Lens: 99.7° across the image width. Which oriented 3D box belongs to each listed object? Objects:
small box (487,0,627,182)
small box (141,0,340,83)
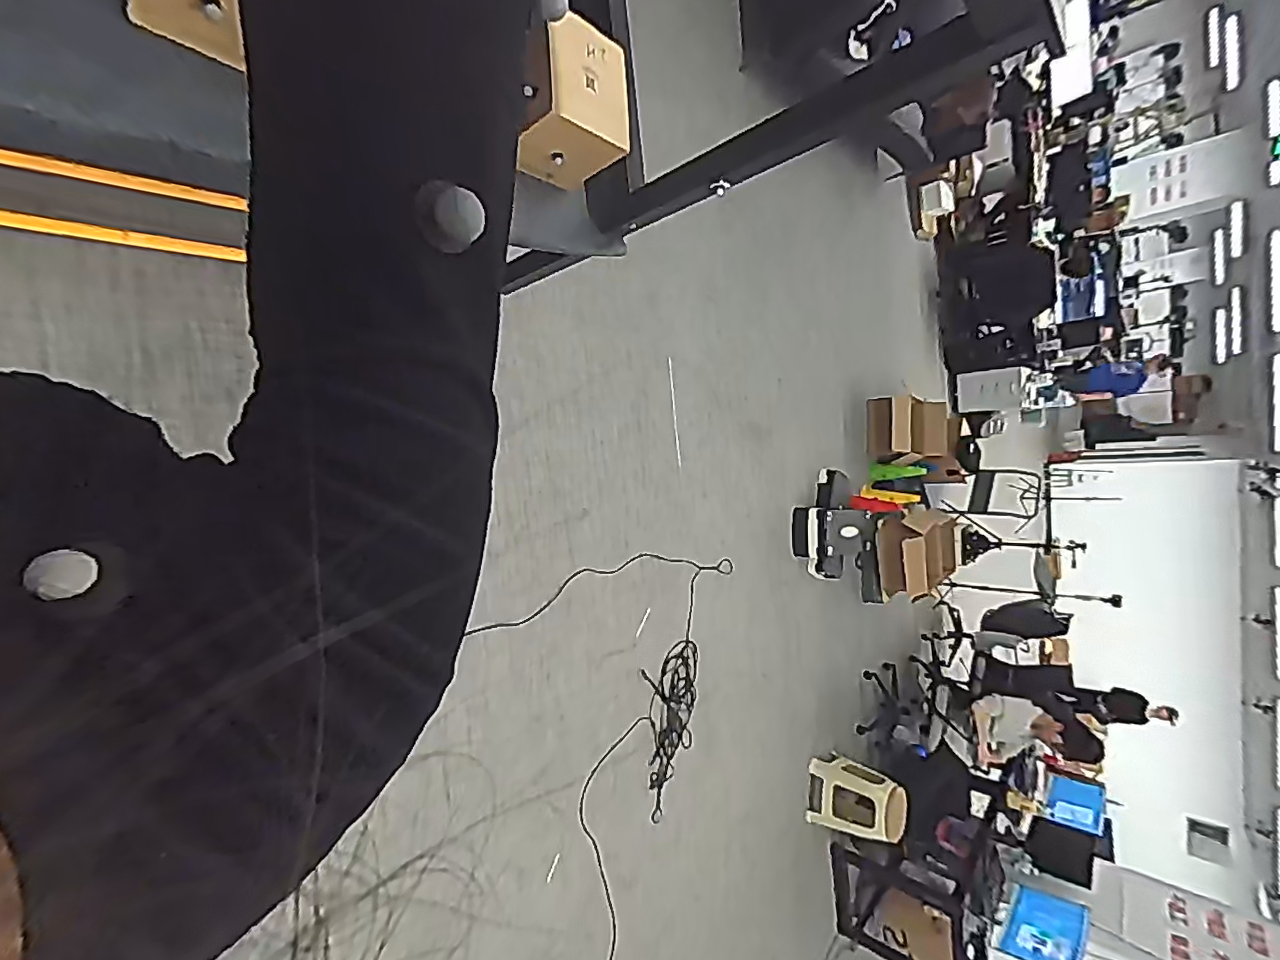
[{"bbox_3d":[-0.141,-0.640,0.910,0.168,0.176,0.179,-5,92,-47],"label":"small box"},{"bbox_3d":[-0.443,-0.593,0.593,0.168,0.176,0.179,0,89,-47],"label":"small box"}]
